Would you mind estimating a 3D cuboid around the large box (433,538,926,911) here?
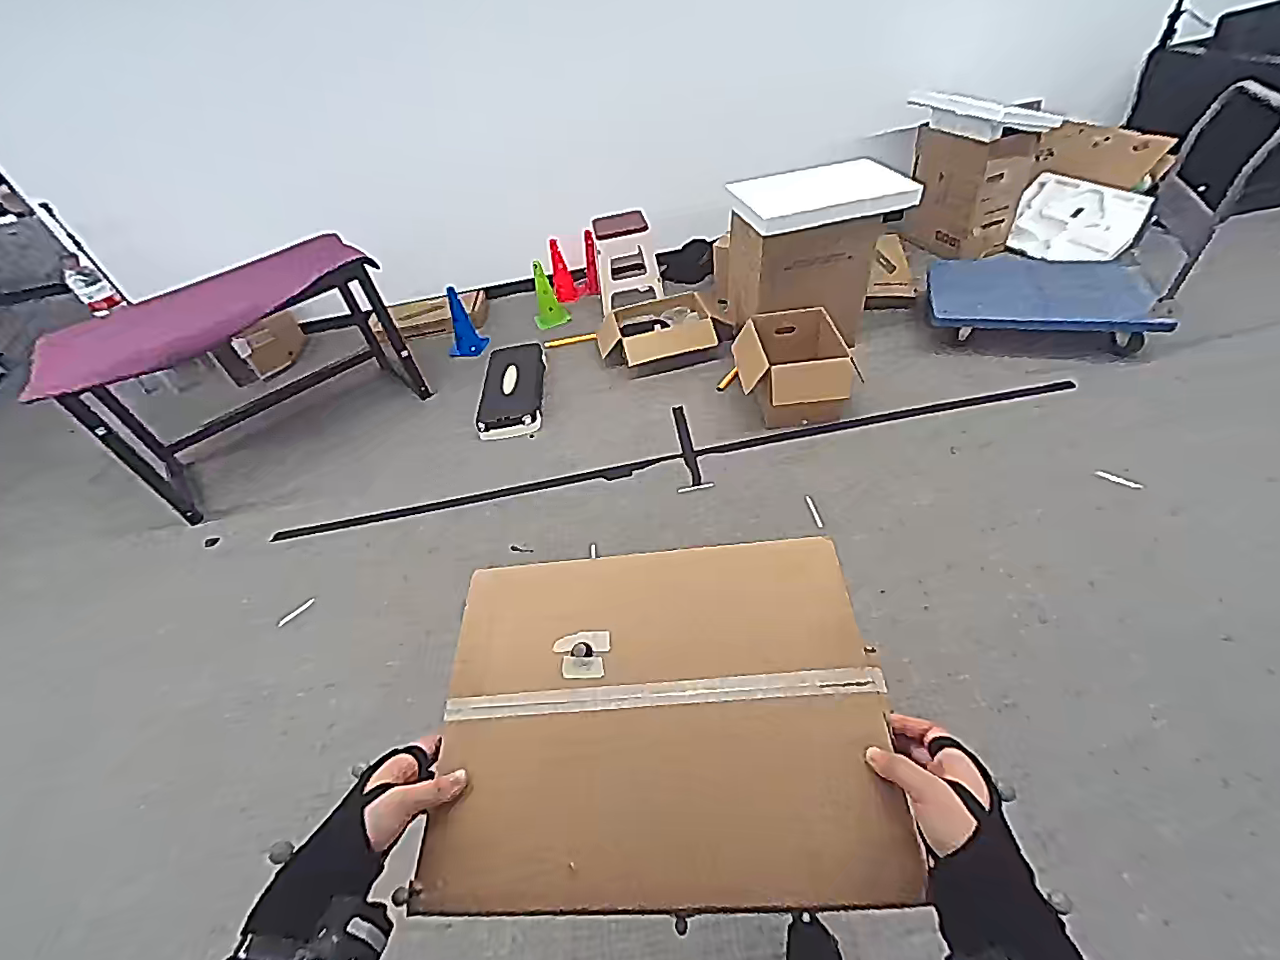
[{"bbox_3d":[0.045,0.299,0.633,0.408,0.320,0.320,-8,50,8],"label":"large box"}]
